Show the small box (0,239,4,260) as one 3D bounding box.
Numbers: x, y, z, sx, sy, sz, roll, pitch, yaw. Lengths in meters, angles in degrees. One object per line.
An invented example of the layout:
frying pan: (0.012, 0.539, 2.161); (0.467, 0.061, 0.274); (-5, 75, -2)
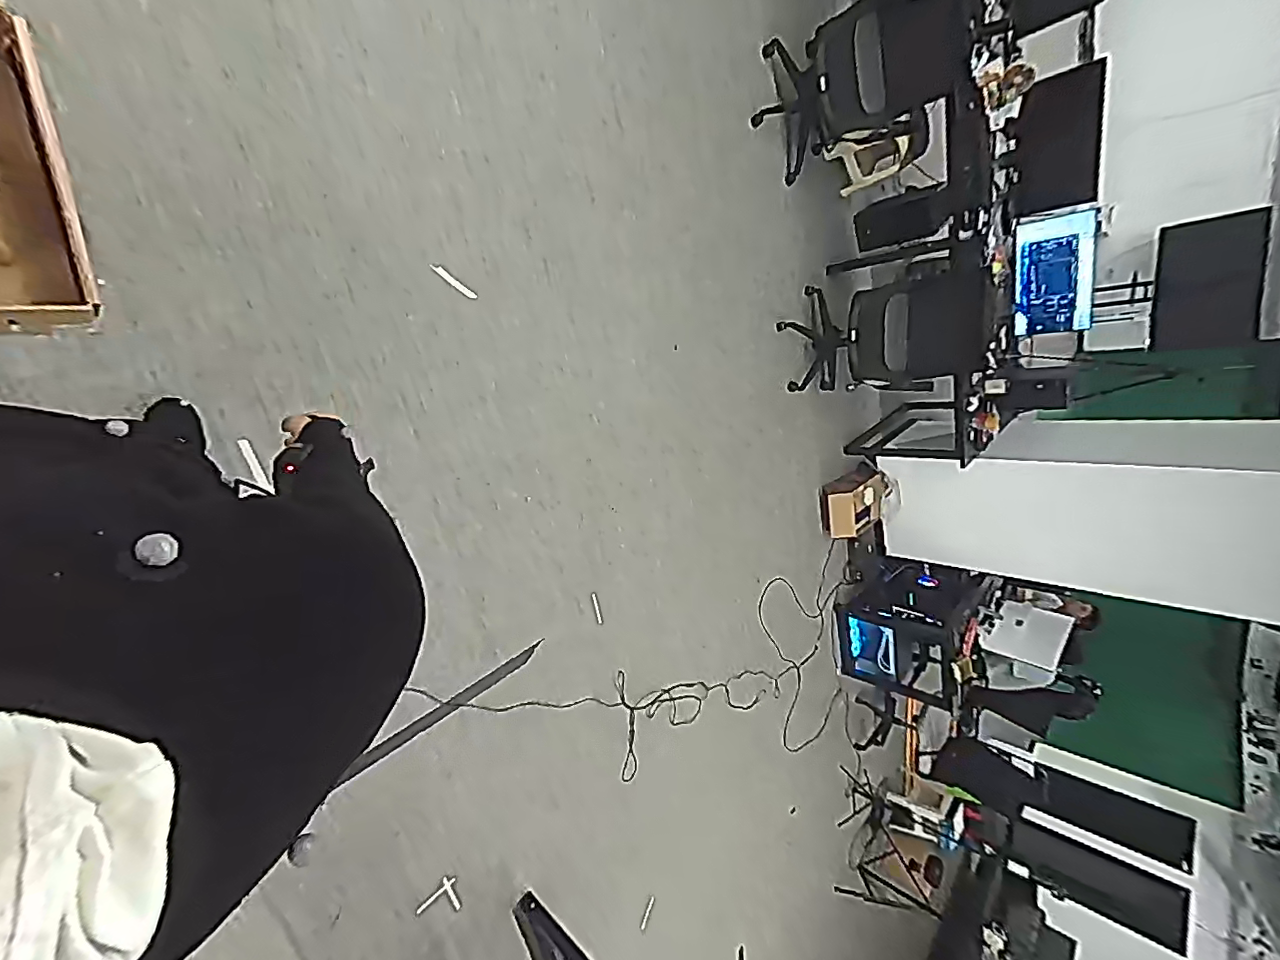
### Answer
small box: (-0.956, -0.379, 0.677); (0.168, 0.176, 0.179); (-19, 106, -41)
